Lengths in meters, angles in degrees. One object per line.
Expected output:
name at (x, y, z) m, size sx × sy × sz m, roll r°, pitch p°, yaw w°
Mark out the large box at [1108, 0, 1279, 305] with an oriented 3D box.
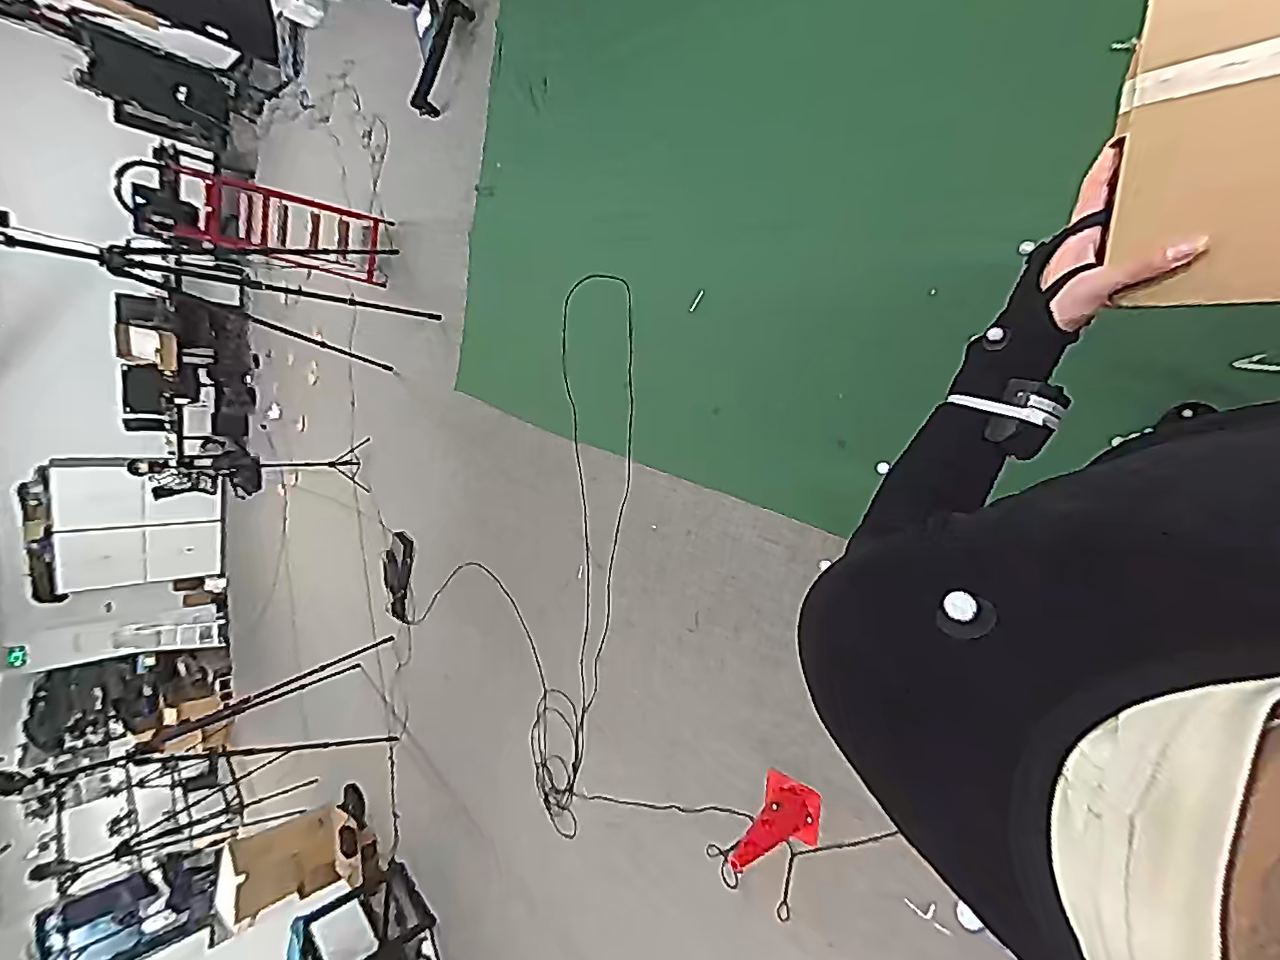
large box at (0.623, -0.301, 0.374) m, size 0.408 × 0.320 × 0.320 m, roll 13°, pitch 114°, yaw 44°
